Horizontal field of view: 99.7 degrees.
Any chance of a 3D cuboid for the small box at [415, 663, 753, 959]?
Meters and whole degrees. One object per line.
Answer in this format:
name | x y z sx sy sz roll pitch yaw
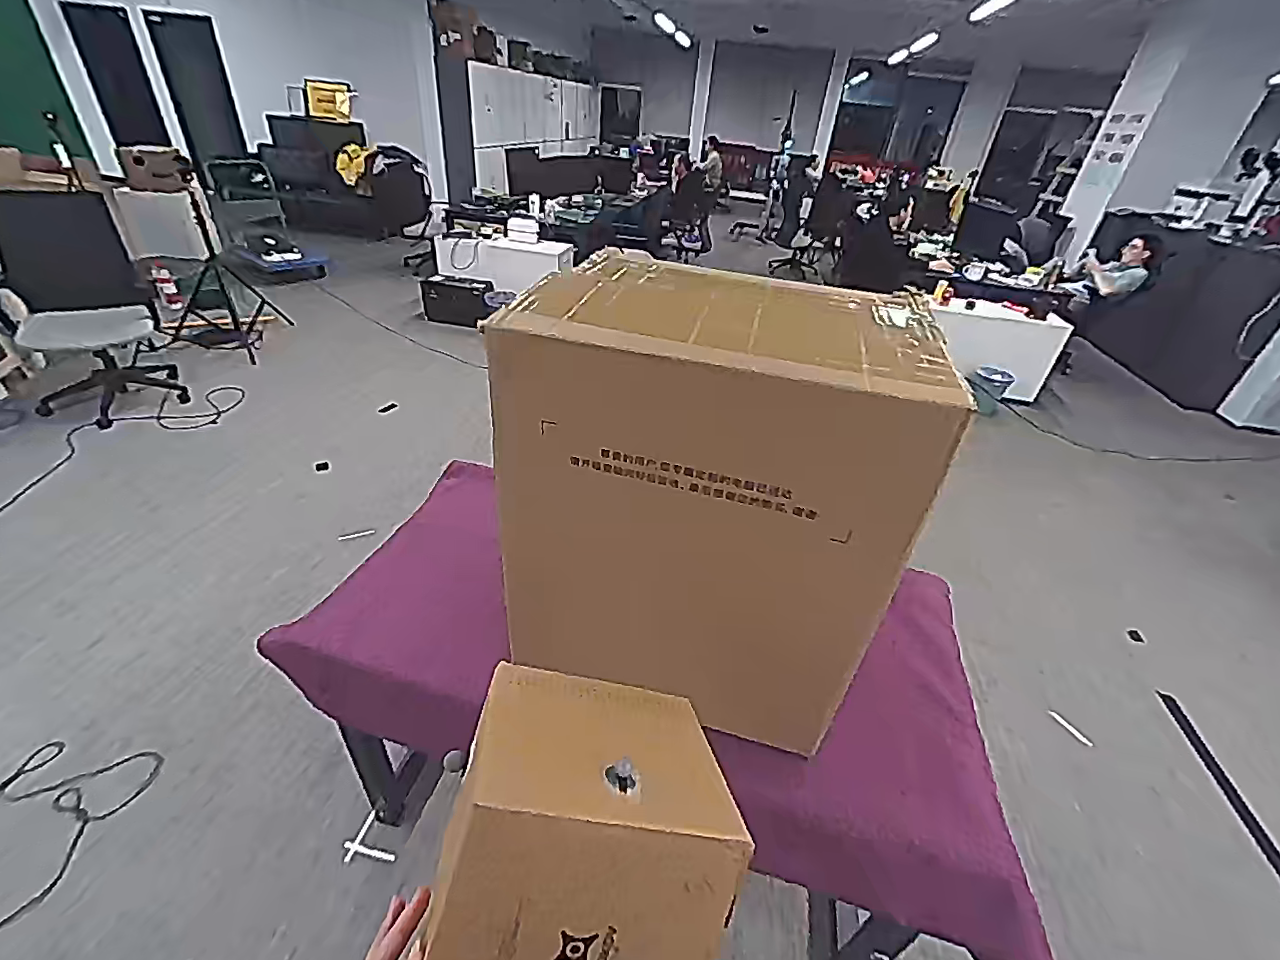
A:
small box | -0.048 0.256 0.395 0.179 0.168 0.176 15 6 -11
